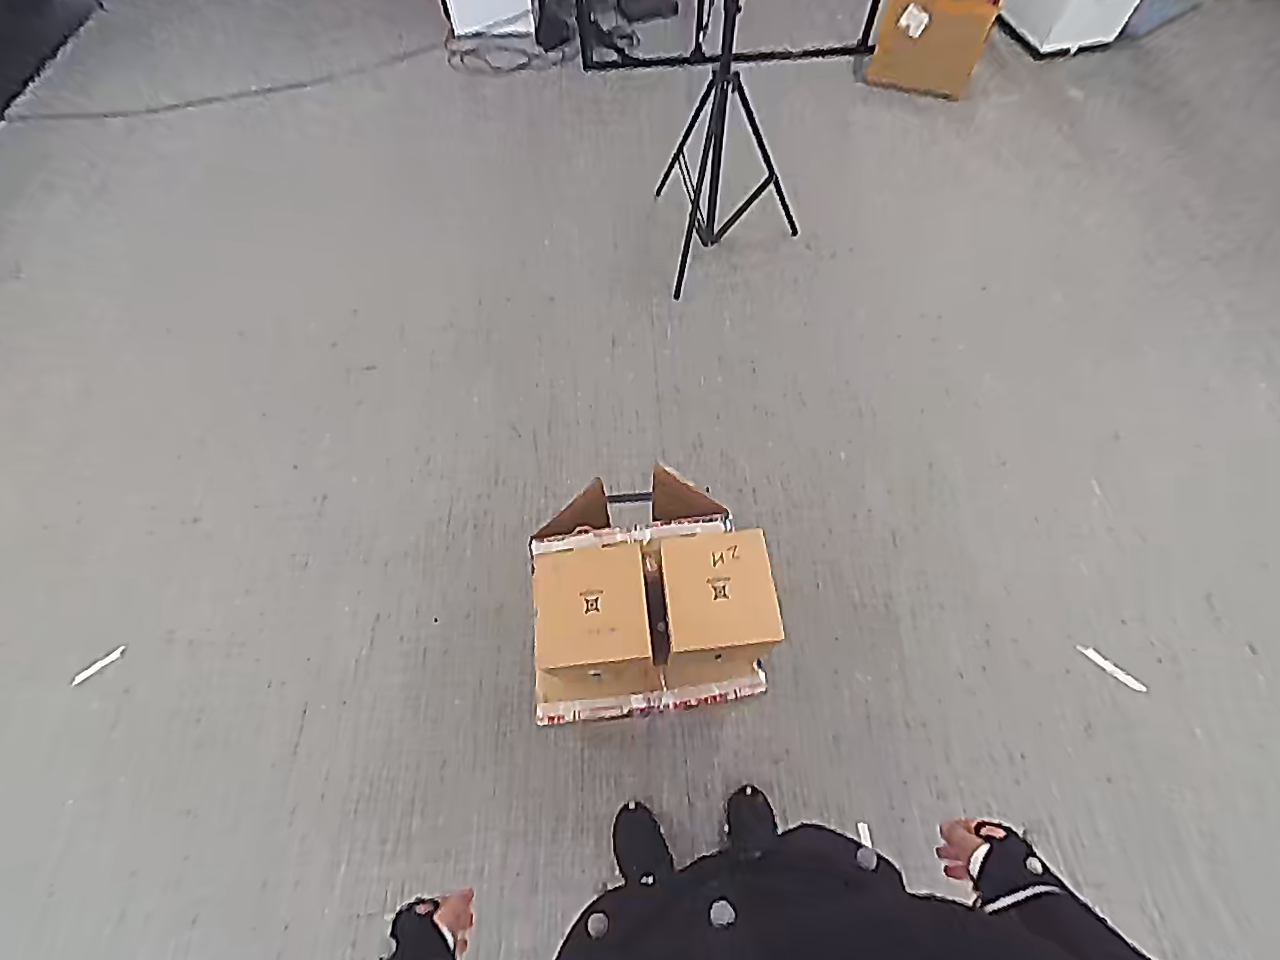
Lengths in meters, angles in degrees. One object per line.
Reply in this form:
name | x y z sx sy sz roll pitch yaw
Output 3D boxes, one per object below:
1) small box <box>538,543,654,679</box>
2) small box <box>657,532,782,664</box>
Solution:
small box | -0.068 0.219 0.884 0.168 0.176 0.179 -8 66 0
small box | 0.119 0.200 0.888 0.168 0.176 0.179 -5 64 -3
